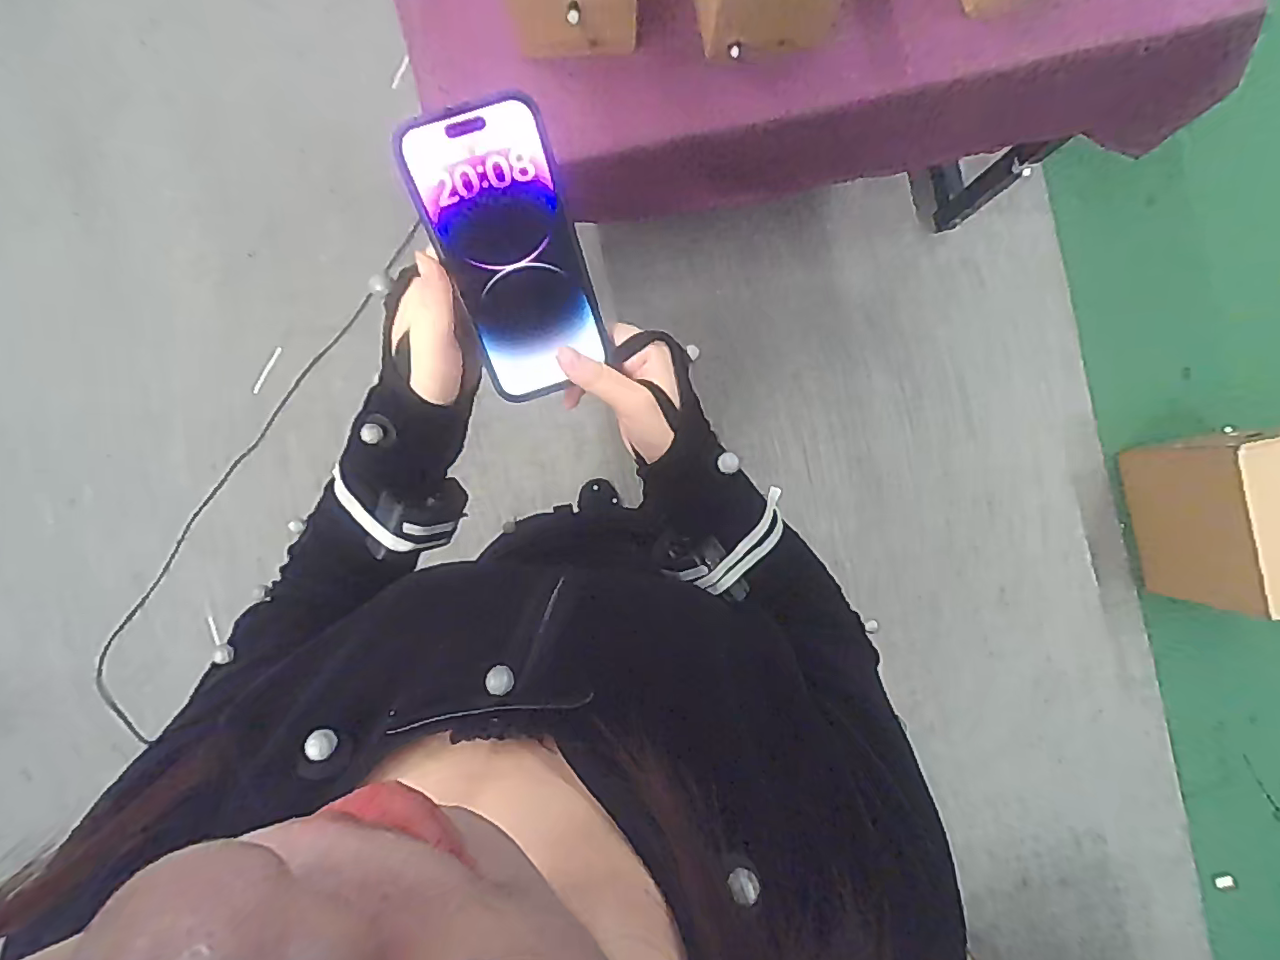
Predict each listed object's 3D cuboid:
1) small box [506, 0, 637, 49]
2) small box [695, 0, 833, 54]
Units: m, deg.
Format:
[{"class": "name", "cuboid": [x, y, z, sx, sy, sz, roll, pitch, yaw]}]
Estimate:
[{"class": "small box", "cuboid": [-0.091, -0.680, 0.674, 0.168, 0.176, 0.179, -5, 91, -1]}, {"class": "small box", "cuboid": [0.159, -0.681, 0.678, 0.168, 0.176, 0.179, -12, 90, -1]}]
